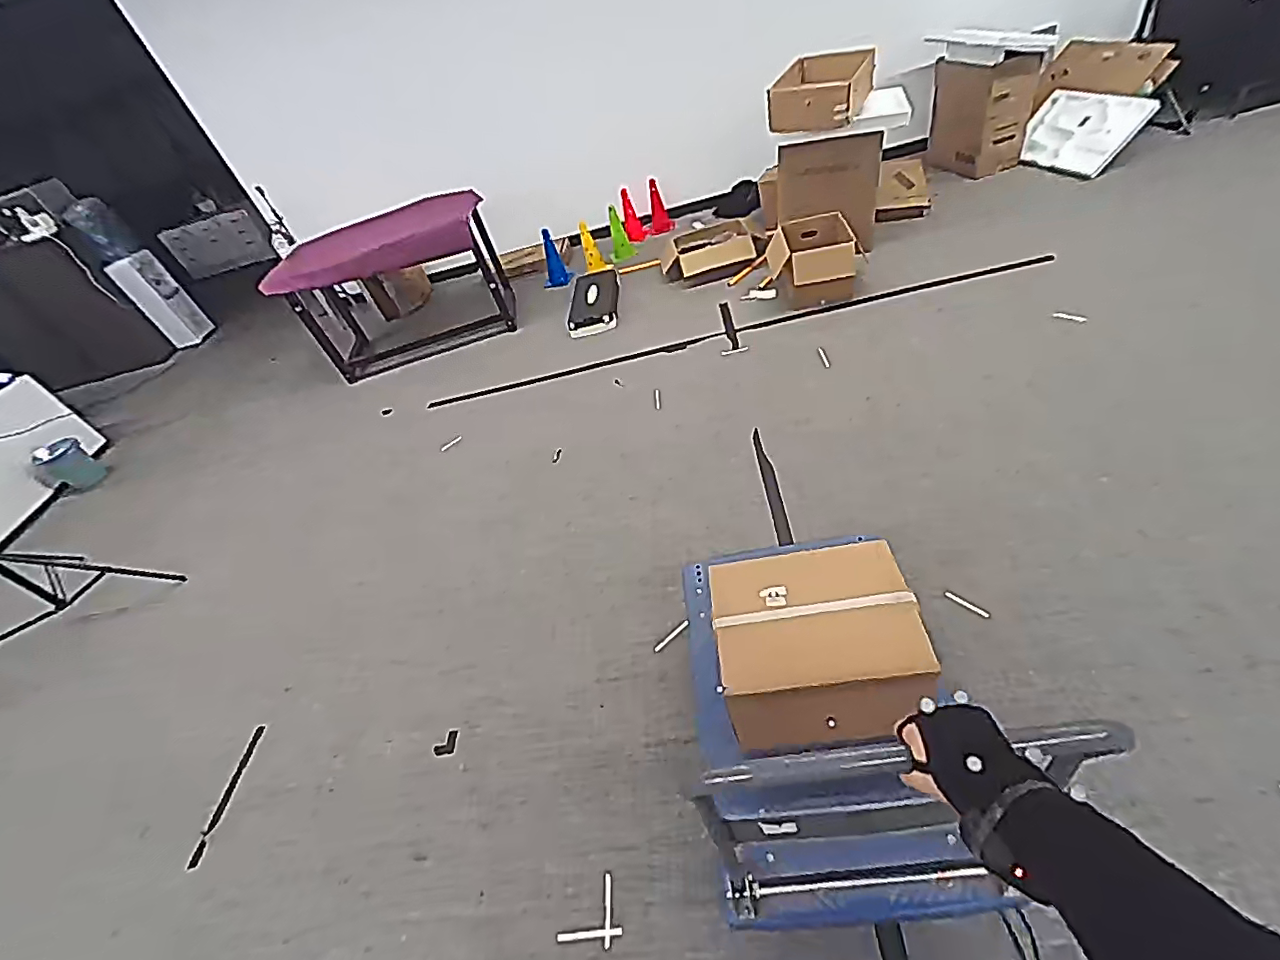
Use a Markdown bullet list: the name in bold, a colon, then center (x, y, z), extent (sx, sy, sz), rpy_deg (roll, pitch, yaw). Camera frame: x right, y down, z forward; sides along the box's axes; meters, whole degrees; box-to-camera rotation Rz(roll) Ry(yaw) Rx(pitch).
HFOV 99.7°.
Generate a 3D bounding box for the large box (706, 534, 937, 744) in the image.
- **large box**: center (0.388, 0.368, 1.225), extent (0.408, 0.320, 0.320), rpy_deg (-12, 43, 10)
